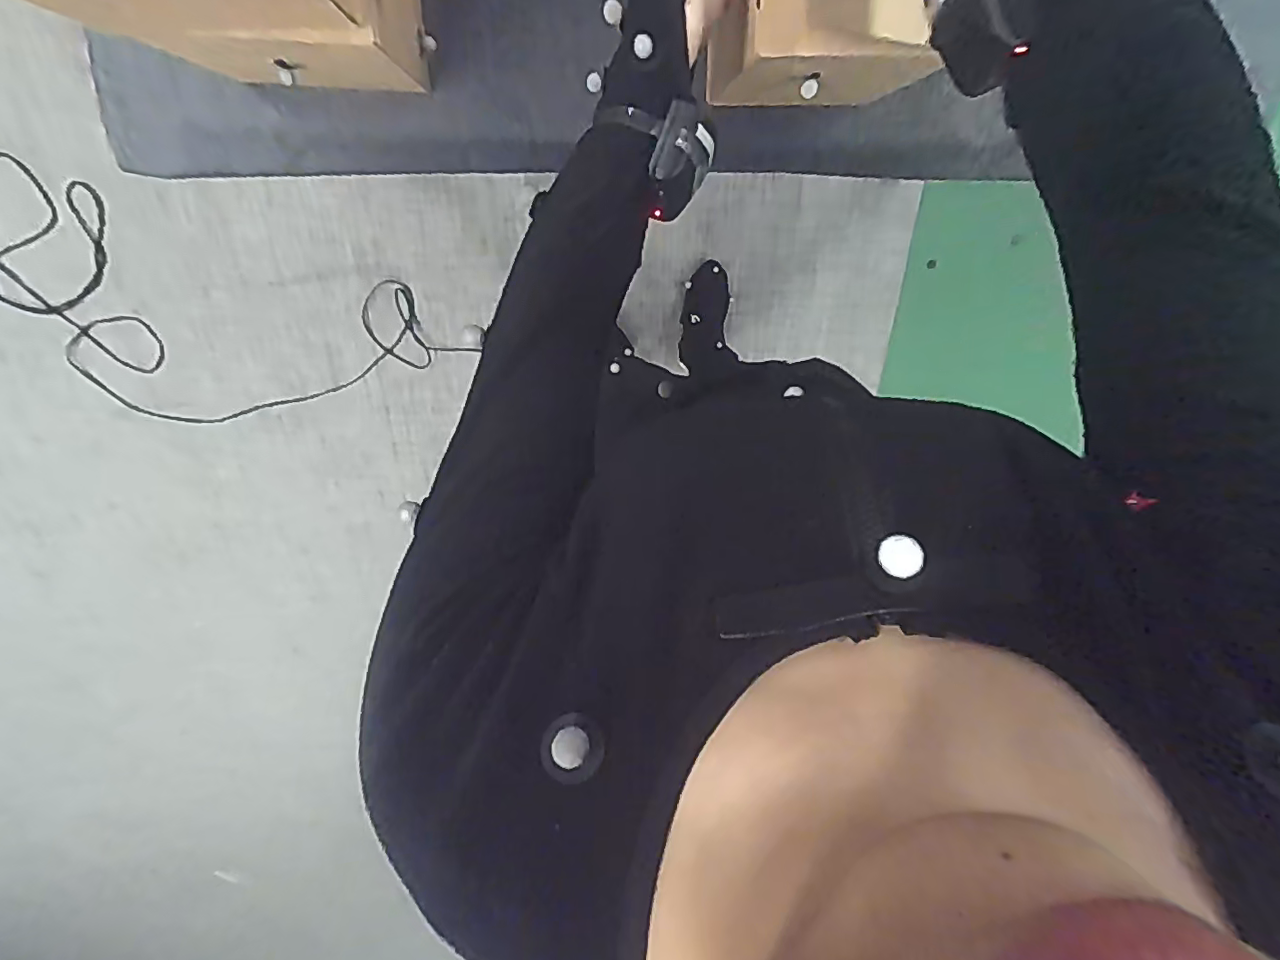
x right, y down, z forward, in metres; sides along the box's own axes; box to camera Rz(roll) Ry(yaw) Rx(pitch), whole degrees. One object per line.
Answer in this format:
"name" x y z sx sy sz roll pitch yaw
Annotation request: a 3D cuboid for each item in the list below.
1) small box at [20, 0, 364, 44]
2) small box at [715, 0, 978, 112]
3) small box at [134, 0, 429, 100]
"small box" -0.273 -0.343 0.270 0.179 0.176 0.168 -5 116 -4
"small box" 0.163 -0.426 0.460 0.179 0.176 0.168 -3 115 -3
"small box" -0.274 -0.411 0.418 0.179 0.176 0.168 -1 116 -6
